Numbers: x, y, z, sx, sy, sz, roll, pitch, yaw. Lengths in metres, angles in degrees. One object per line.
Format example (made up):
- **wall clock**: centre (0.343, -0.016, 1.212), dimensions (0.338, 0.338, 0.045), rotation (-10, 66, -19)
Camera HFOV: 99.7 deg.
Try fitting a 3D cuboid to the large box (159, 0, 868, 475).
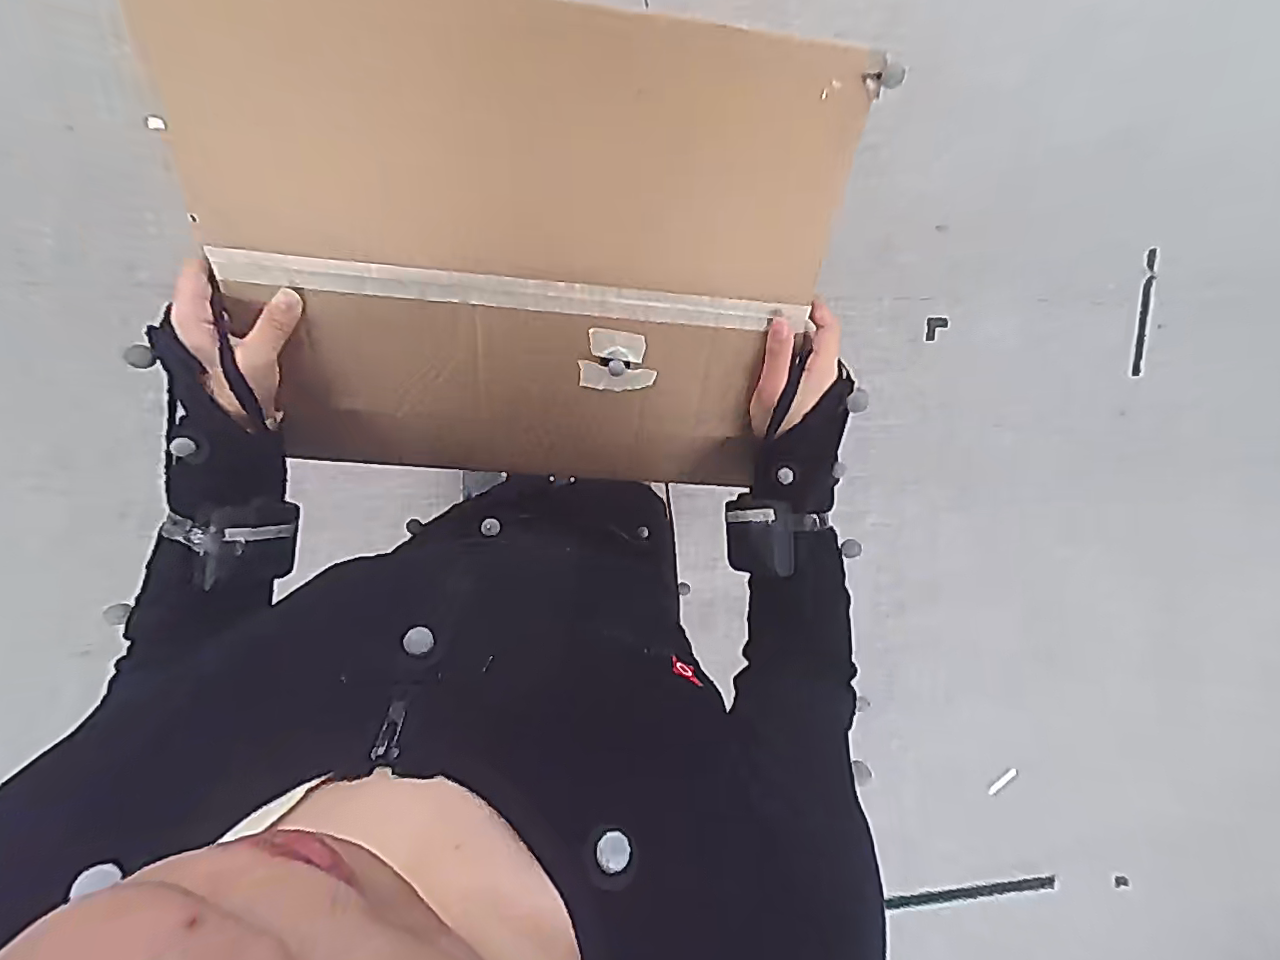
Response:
- **large box**: centre (-0.085, -0.222, 0.508), dimensions (0.408, 0.320, 0.320), rotation (3, 127, -7)
